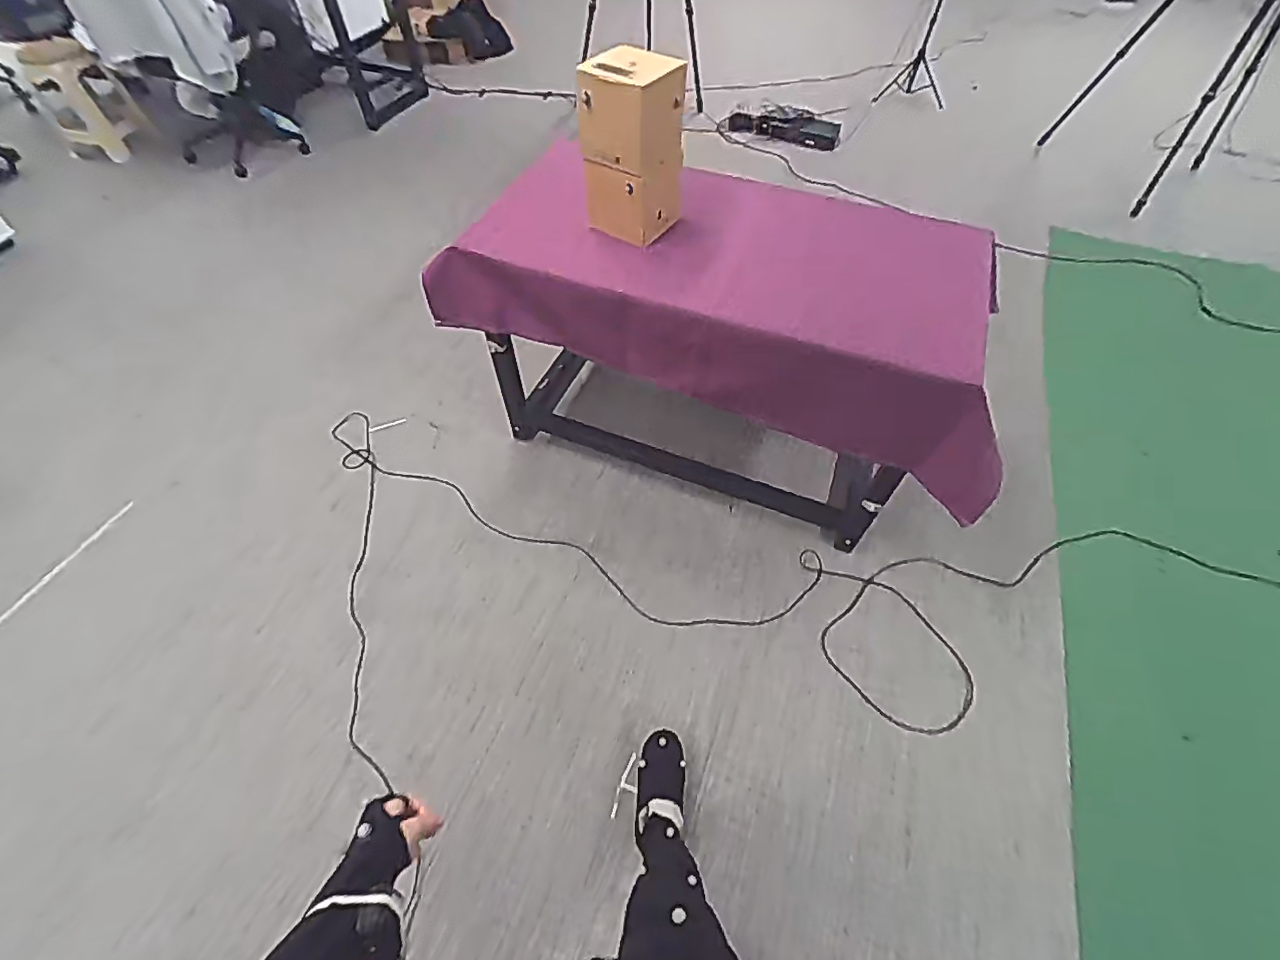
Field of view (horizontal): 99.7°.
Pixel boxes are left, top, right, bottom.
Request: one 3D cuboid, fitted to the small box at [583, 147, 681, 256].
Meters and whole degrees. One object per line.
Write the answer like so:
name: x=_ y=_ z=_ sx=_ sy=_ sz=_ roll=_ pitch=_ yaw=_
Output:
small box: x=-0.021 y=-0.679 z=1.325 sx=0.179 sy=0.176 sz=0.168 roll=29 pitch=58 yaw=18
